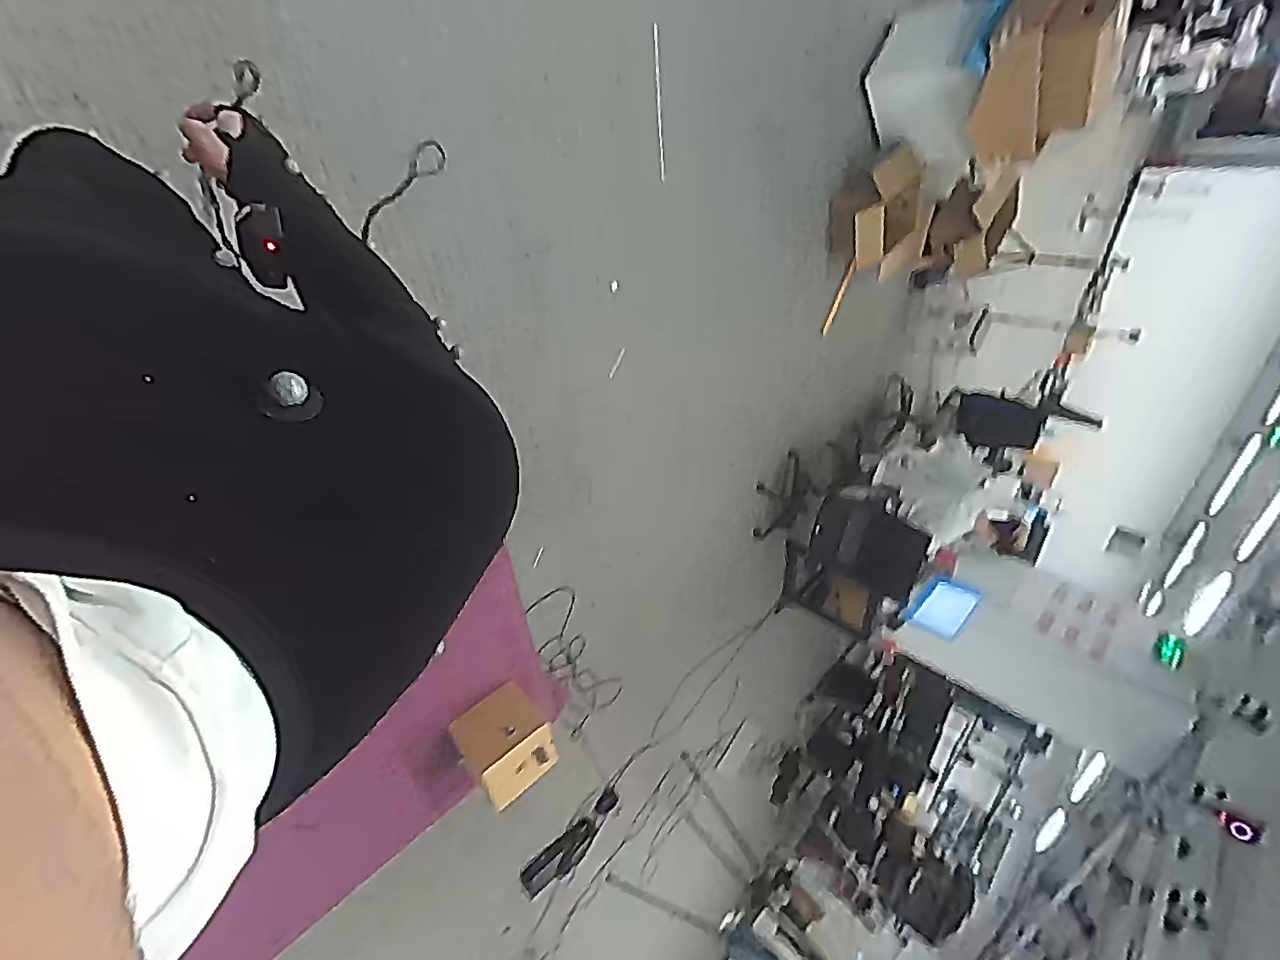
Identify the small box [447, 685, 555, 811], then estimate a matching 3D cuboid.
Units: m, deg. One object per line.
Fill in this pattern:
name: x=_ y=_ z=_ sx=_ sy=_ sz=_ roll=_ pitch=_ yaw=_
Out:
small box: x=-0.333 y=0.638 z=1.306 sx=0.179 sy=0.176 sz=0.168 roll=-30 pitch=130 yaw=-33
